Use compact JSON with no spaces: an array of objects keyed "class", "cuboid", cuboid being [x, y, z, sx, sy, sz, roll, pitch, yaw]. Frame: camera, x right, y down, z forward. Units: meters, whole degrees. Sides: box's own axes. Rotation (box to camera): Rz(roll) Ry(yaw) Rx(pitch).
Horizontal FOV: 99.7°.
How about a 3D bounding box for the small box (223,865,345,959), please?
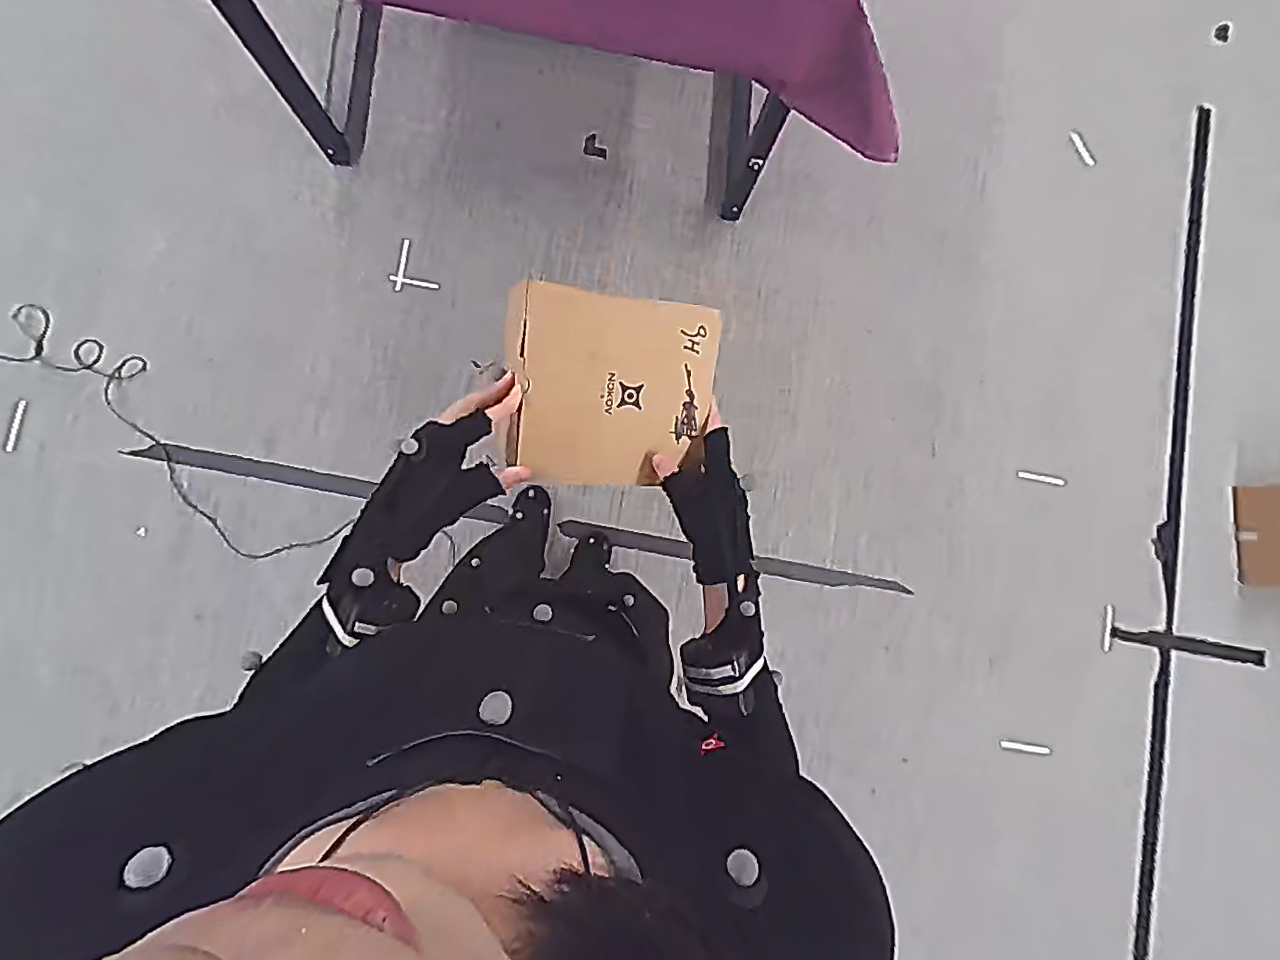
[{"class":"small box","cuboid":[-0.830,1.043,1.268,0.179,0.176,0.168,9,85,-6]}]
